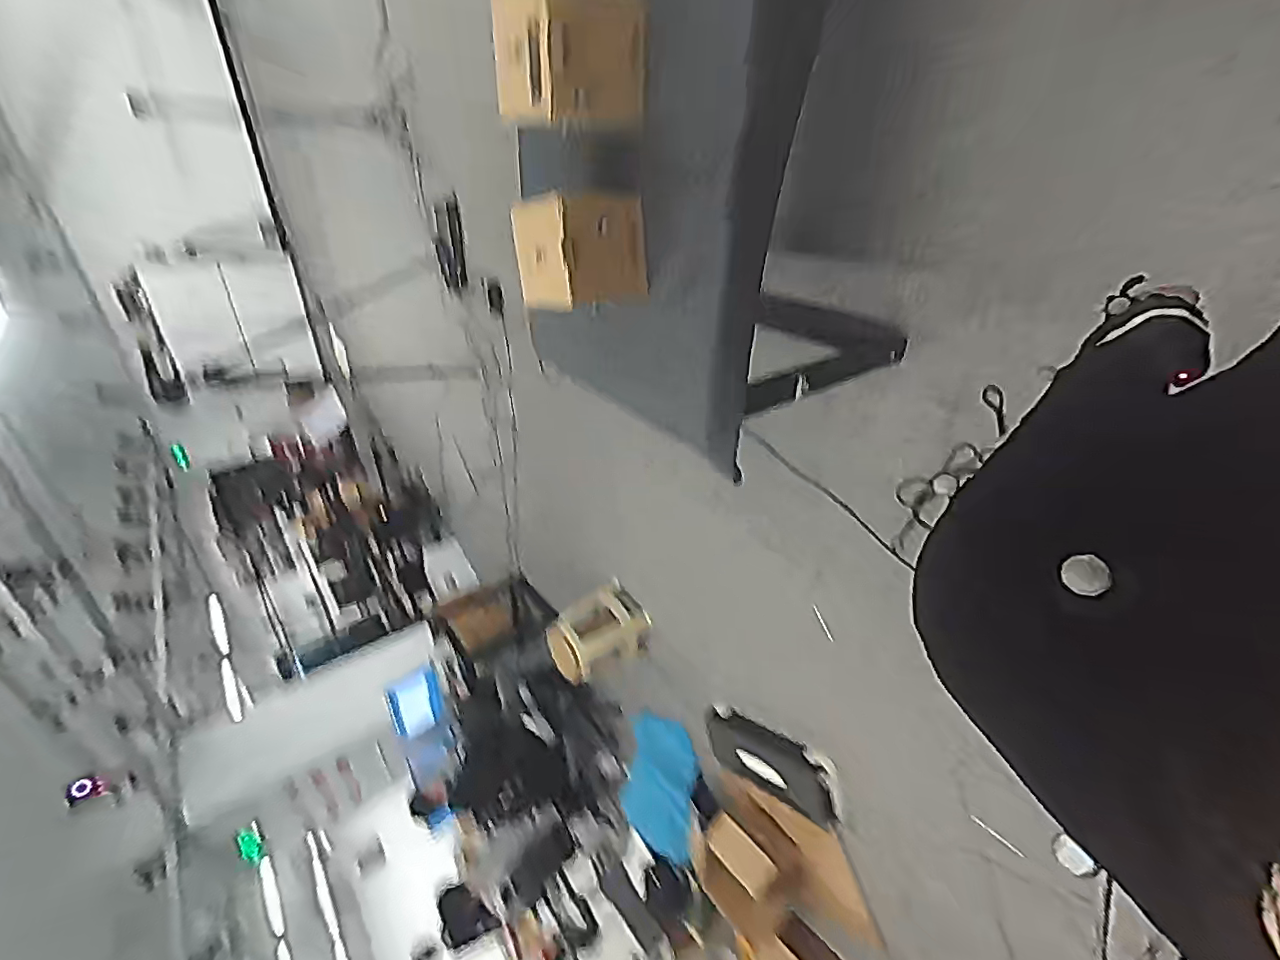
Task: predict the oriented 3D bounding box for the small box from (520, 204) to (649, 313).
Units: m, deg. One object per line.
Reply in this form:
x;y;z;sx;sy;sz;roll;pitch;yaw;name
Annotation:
-0.094;-0.401;0.983;0.179;0.176;0.168;23;124;50;small box
